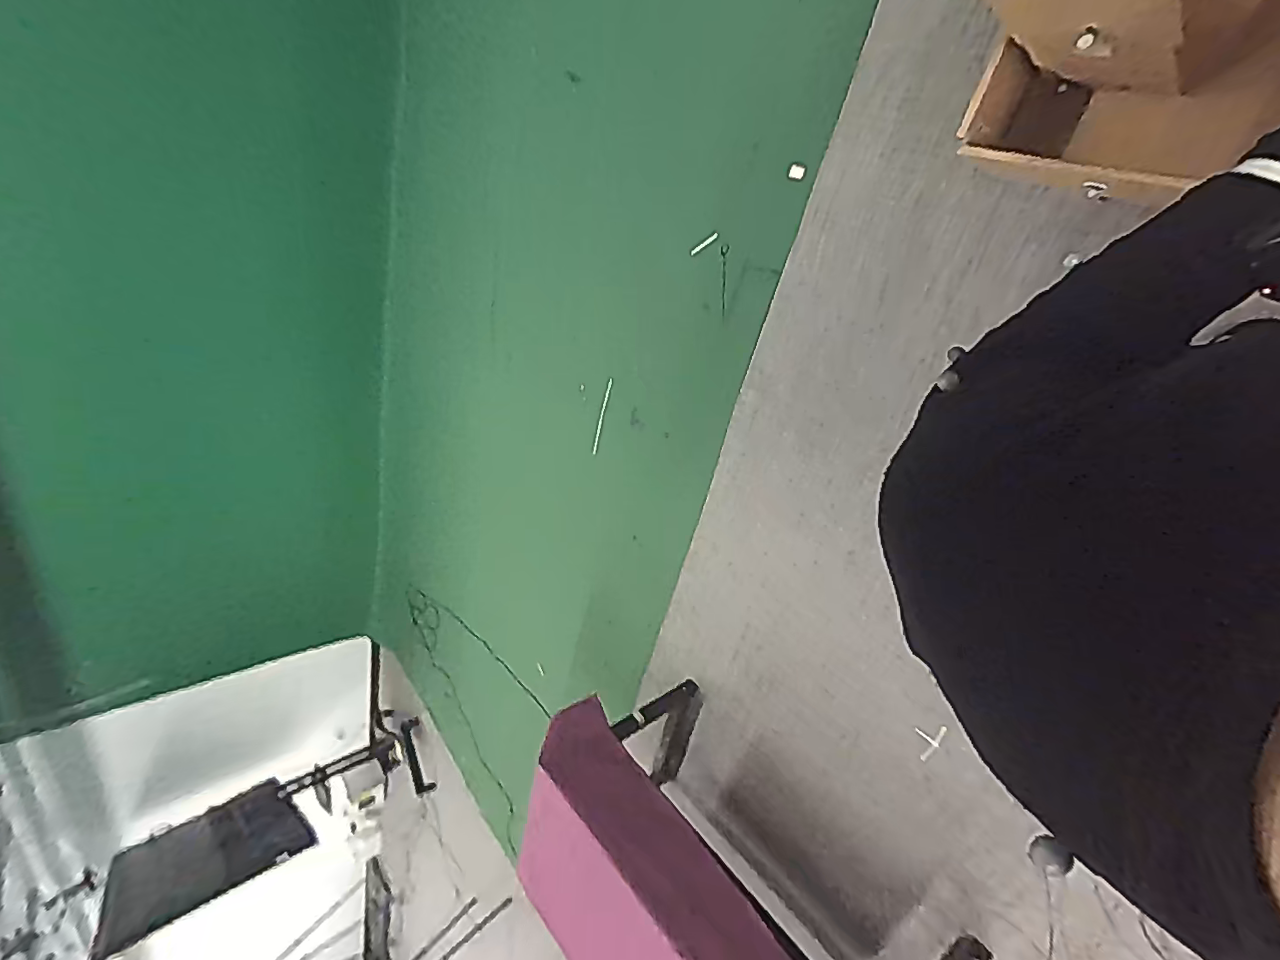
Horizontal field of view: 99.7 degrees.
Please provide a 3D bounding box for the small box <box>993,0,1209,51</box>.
[{"bbox_3d":[0.508,-0.573,0.555,0.179,0.176,0.168,37,122,37],"label":"small box"}]
